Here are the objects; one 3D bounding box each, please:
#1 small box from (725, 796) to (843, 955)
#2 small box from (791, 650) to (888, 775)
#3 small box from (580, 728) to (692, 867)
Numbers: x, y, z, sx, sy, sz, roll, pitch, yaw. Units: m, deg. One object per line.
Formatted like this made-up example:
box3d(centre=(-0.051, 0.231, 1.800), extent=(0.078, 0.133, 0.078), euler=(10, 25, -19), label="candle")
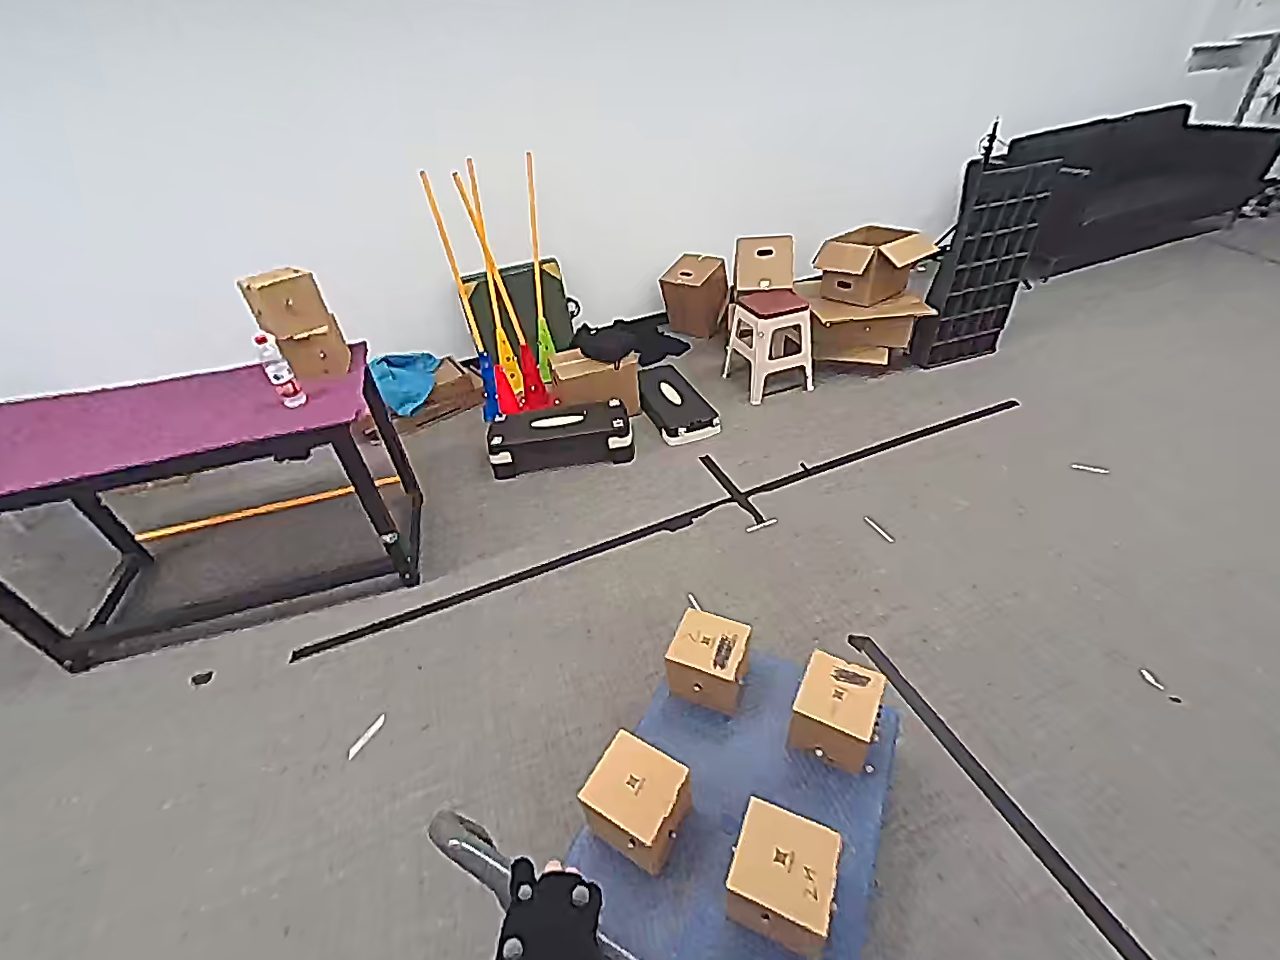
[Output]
box3d(centre=(0.269, 0.750, 1.025), extent=(0.179, 0.176, 0.168), euler=(13, 42, 23), label="small box")
box3d(centre=(0.460, 0.543, 1.264), extent=(0.168, 0.176, 0.179), euler=(17, 44, 26), label="small box")
box3d(centre=(-0.003, 0.679, 1.154), extent=(0.179, 0.176, 0.168), euler=(19, 44, 27), label="small box")
